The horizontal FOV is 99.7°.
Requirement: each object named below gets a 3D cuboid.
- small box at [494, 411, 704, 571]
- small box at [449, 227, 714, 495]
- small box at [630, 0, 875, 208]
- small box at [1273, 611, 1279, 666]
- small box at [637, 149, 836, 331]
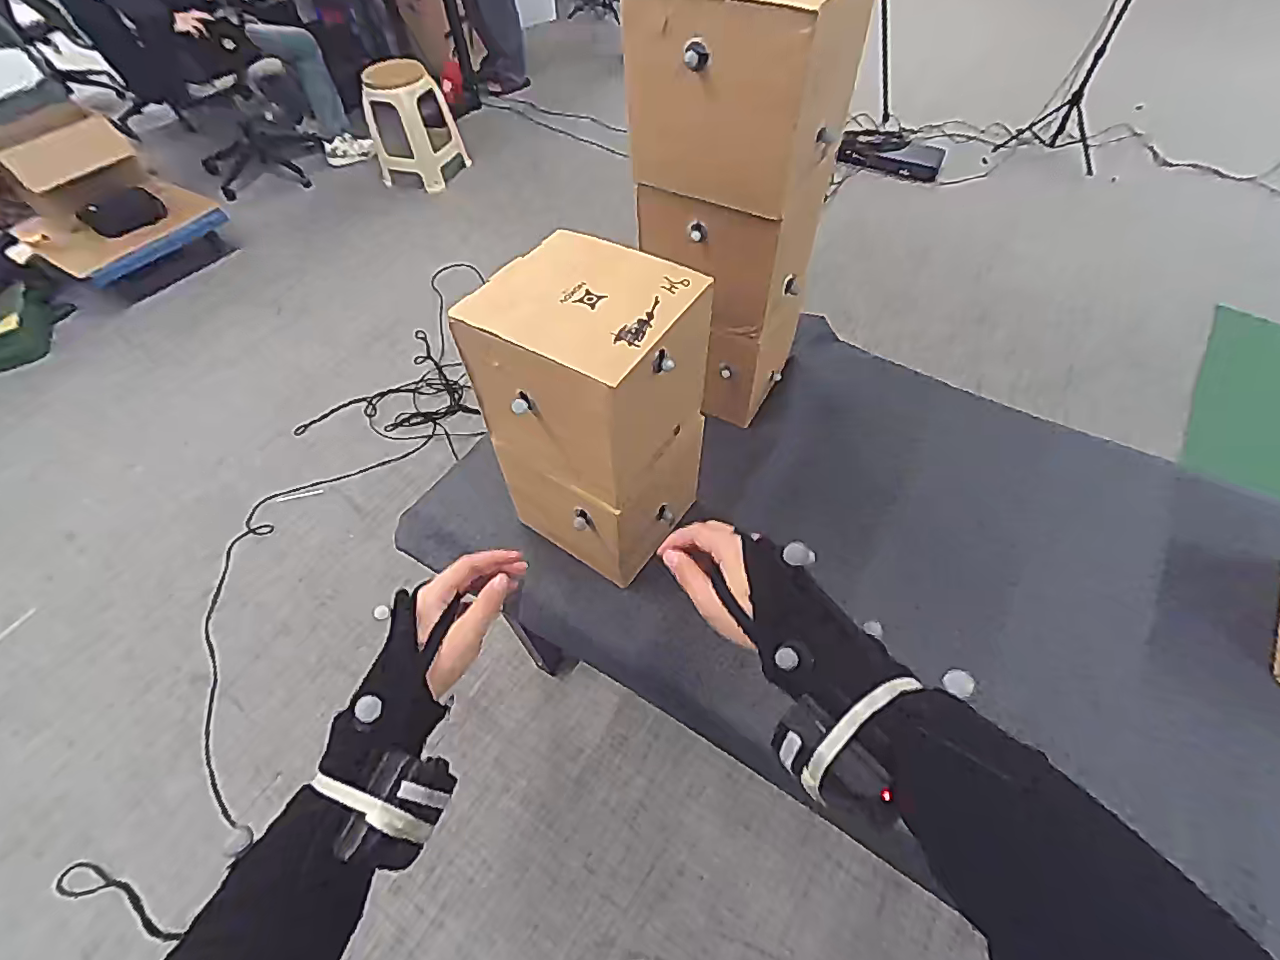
[{"bbox_3d":[-0.043,-0.013,0.660,0.179,0.176,0.168,30,59,21],"label":"small box"},{"bbox_3d":[-0.047,-0.113,0.531,0.179,0.176,0.168,26,59,19],"label":"small box"},{"bbox_3d":[0.103,-0.395,0.524,0.179,0.176,0.168,26,63,18],"label":"small box"},{"bbox_3d":[0.781,0.140,0.516,0.168,0.176,0.179,30,63,22],"label":"small box"},{"bbox_3d":[0.112,-0.313,0.666,0.179,0.176,0.168,25,62,17],"label":"small box"}]
